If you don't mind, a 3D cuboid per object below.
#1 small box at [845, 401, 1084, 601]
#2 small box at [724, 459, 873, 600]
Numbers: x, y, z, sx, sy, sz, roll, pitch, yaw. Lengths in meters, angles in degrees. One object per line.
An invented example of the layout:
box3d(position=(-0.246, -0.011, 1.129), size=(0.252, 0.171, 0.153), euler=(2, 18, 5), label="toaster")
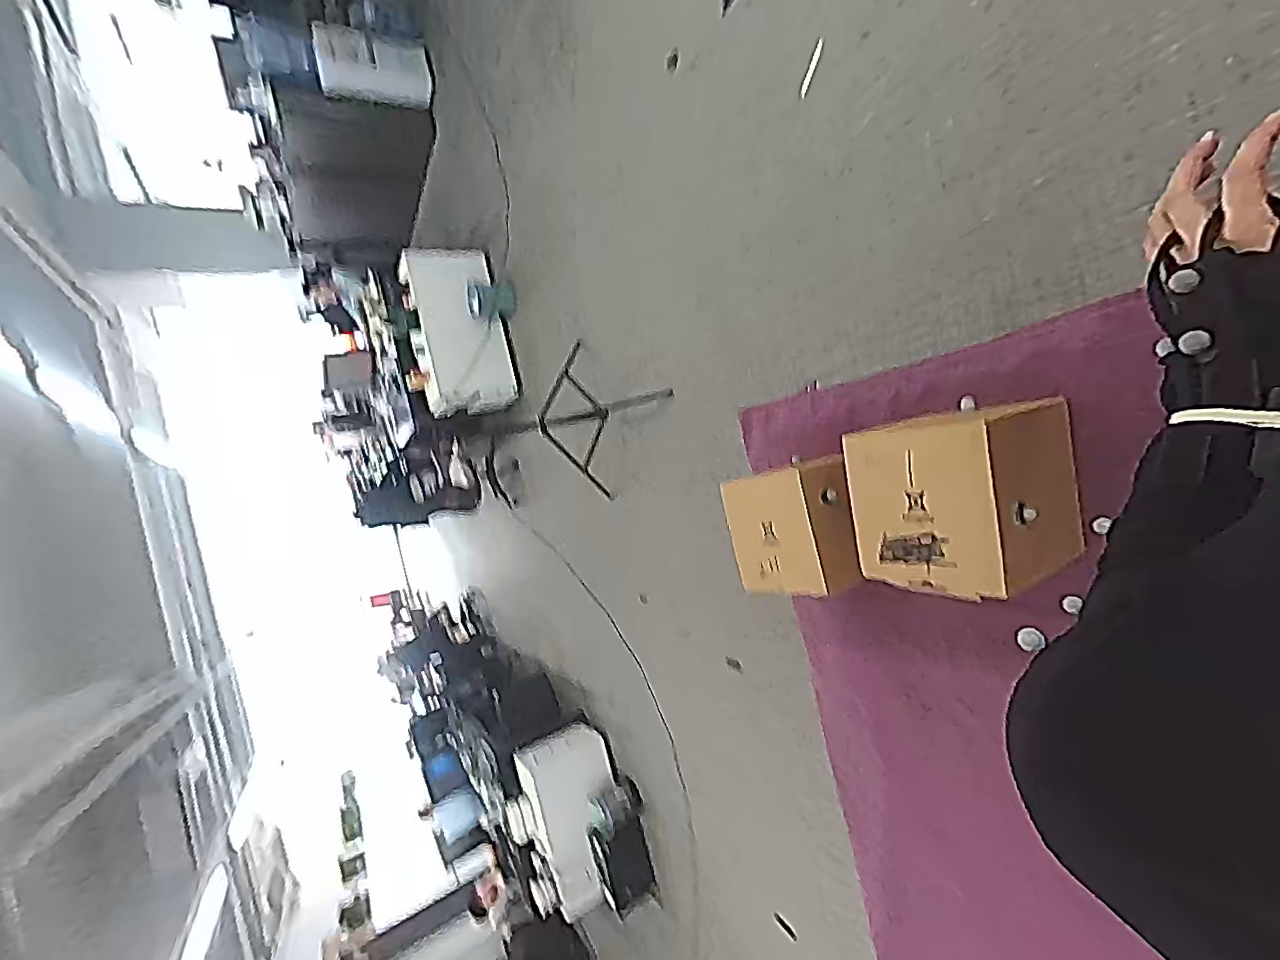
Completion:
box3d(position=(0.367, 0.017, 0.615), size=(0.168, 0.176, 0.179), euler=(-4, 98, 61), label="small box")
box3d(position=(0.259, 0.068, 0.818), size=(0.168, 0.176, 0.179), euler=(-16, 88, 59), label="small box")
